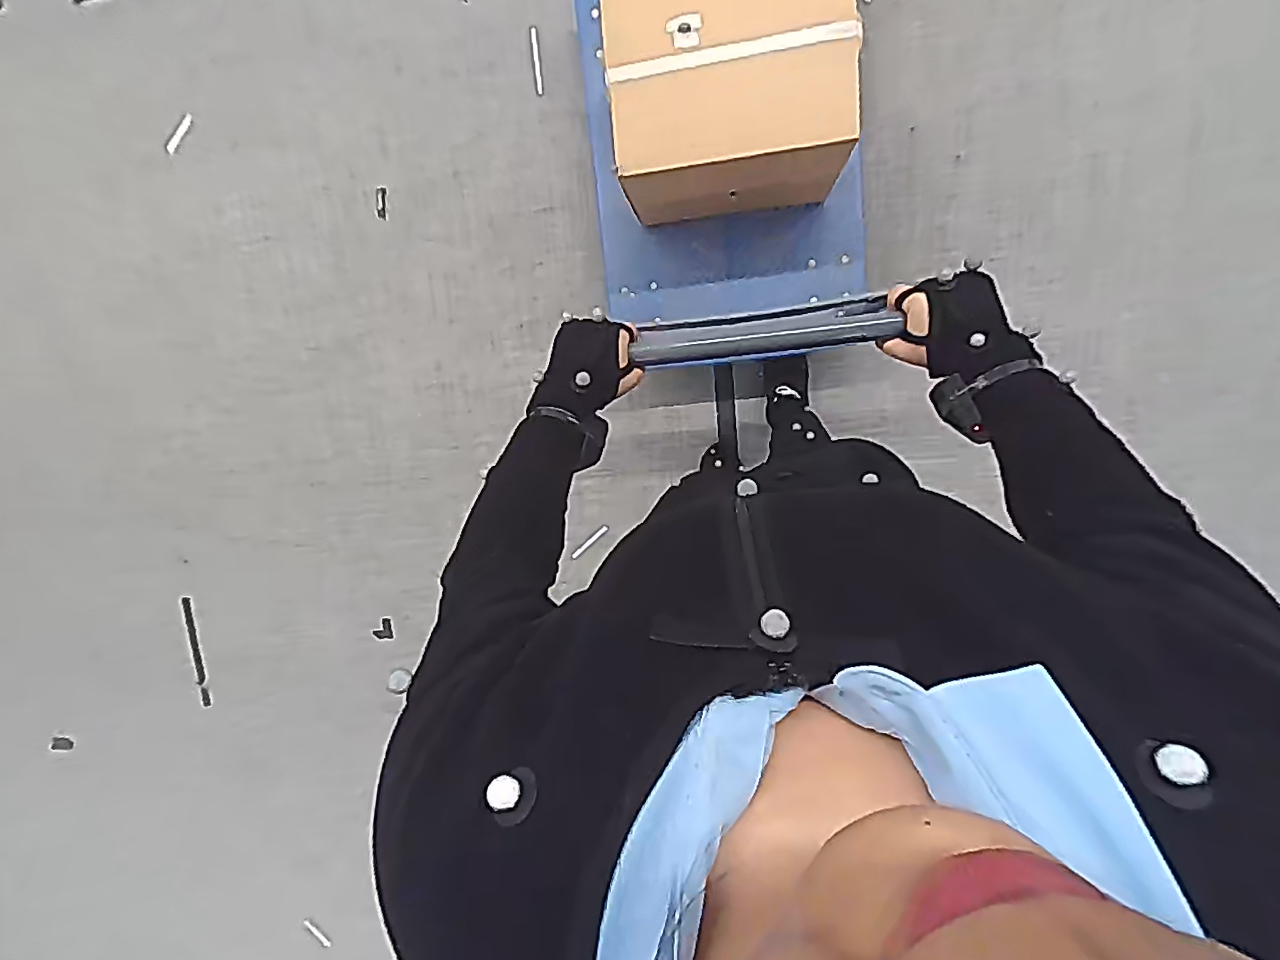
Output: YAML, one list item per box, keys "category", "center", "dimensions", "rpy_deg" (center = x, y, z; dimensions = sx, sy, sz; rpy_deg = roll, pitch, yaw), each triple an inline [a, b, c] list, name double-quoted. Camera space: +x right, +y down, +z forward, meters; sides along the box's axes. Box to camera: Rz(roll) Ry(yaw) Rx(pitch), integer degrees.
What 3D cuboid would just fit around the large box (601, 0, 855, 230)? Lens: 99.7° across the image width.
- category: "large box"
  center: [0.169, -0.712, 1.045]
  dimensions: [0.408, 0.320, 0.320]
  rpy_deg: [-4, 98, 10]
